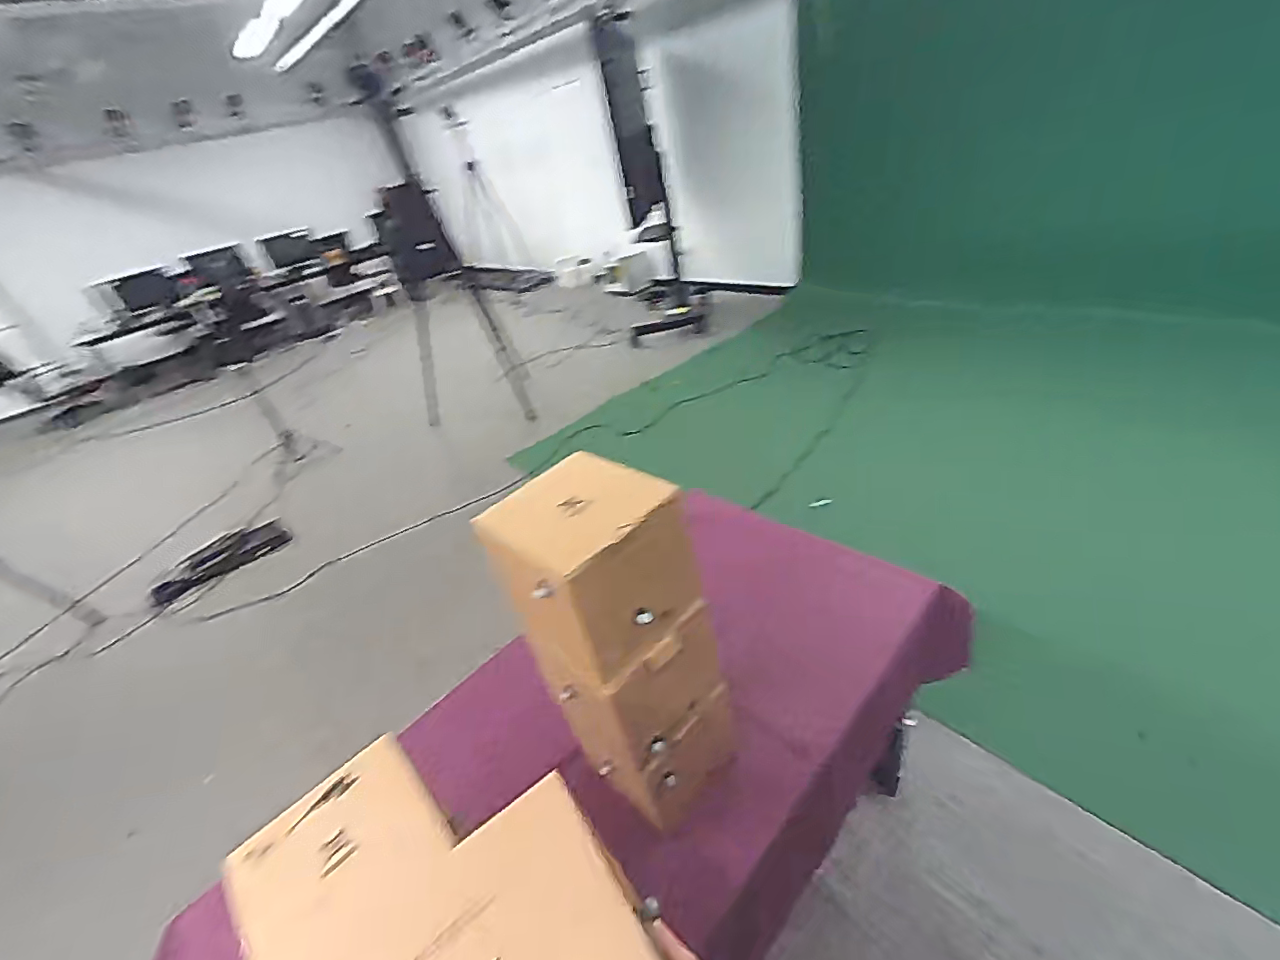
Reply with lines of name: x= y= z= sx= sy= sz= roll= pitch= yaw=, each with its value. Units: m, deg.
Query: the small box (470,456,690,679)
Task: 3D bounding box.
small box: x=-0.063 y=0.098 z=0.636 sx=0.179 sy=0.176 sz=0.168 roll=20 pitch=45 yaw=40

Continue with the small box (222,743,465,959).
small box: x=-0.260 y=0.413 z=0.532 sx=0.168 sy=0.176 sz=0.179 roll=-36 pitch=39 yaw=-31

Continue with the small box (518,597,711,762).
small box: x=-0.025 y=0.235 z=0.716 sx=0.179 sy=0.176 sz=0.168 roll=19 pitch=45 yaw=42

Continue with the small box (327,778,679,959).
small box: x=-0.053 y=0.335 z=0.324 sx=0.168 sy=0.176 sz=0.179 roll=-31 pitch=36 yaw=-19
